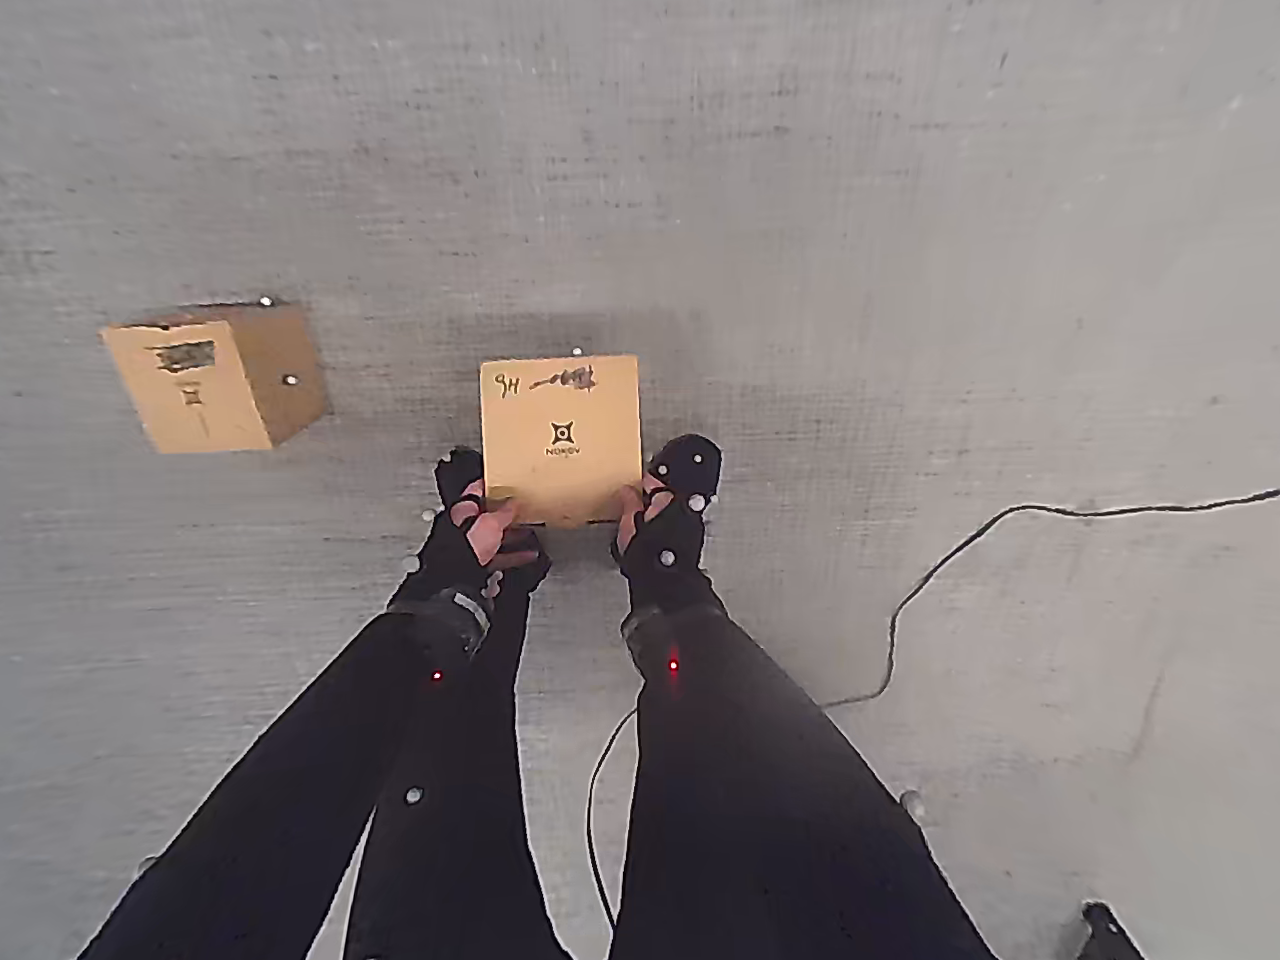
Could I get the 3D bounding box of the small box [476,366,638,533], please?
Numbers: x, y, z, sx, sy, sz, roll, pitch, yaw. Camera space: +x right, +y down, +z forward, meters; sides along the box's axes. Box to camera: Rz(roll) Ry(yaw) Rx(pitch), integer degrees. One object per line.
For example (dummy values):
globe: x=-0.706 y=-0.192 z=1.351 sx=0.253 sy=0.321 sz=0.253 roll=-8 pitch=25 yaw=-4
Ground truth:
small box: x=-0.089 y=-0.035 z=0.659 sx=0.168 sy=0.176 sz=0.179 roll=-3 pitch=91 yaw=1

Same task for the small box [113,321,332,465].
small box: x=-0.600 y=-0.137 z=0.808 sx=0.168 sy=0.176 sz=0.179 roll=-3 pitch=116 yaw=1
